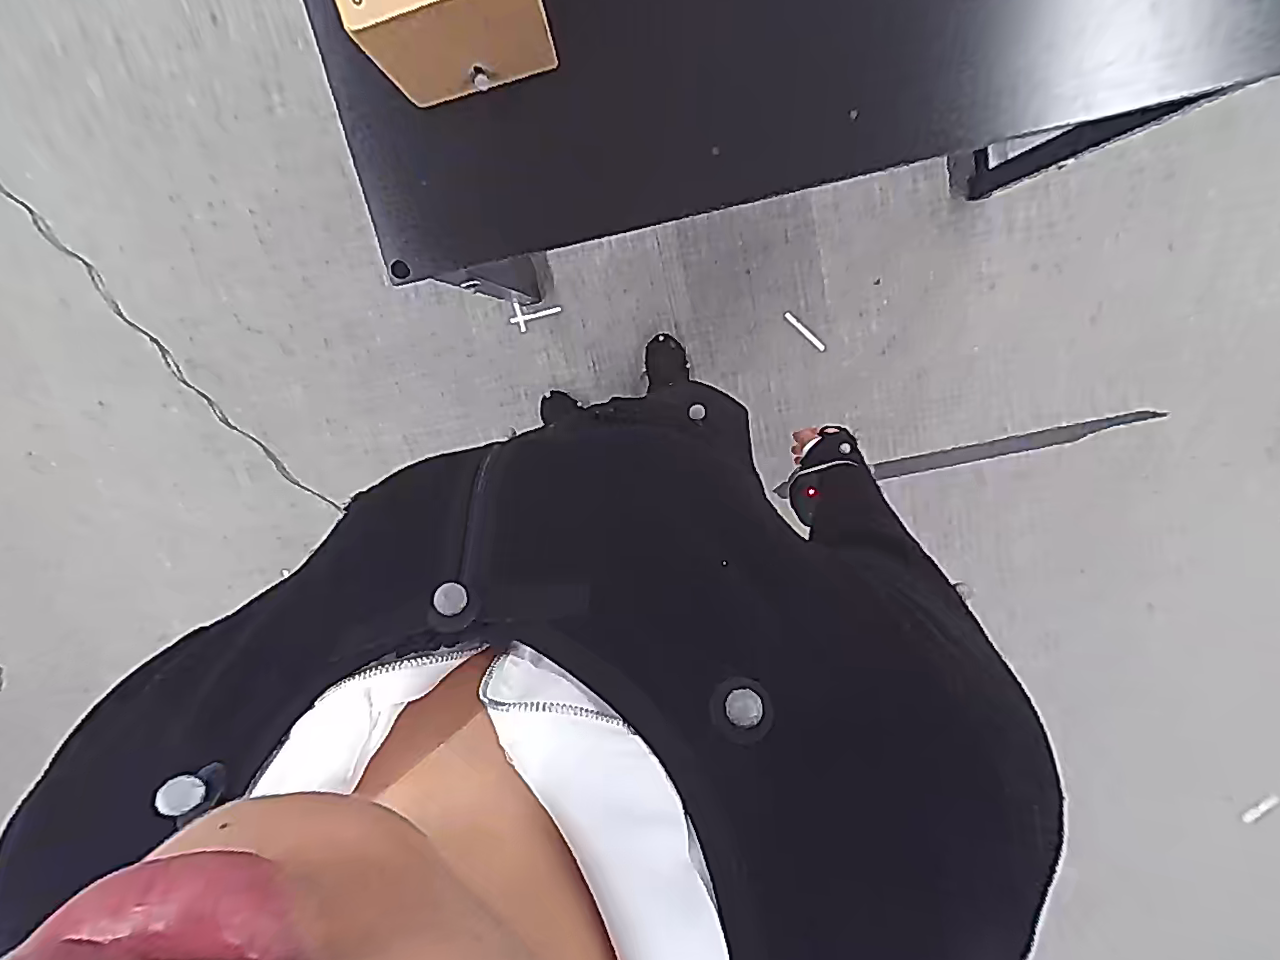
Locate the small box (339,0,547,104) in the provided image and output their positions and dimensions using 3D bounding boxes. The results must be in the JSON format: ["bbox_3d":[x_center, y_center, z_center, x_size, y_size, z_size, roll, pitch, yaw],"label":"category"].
[{"bbox_3d":[-0.199,-0.518,0.540,0.179,0.176,0.168,-14,103,2],"label":"small box"}]
